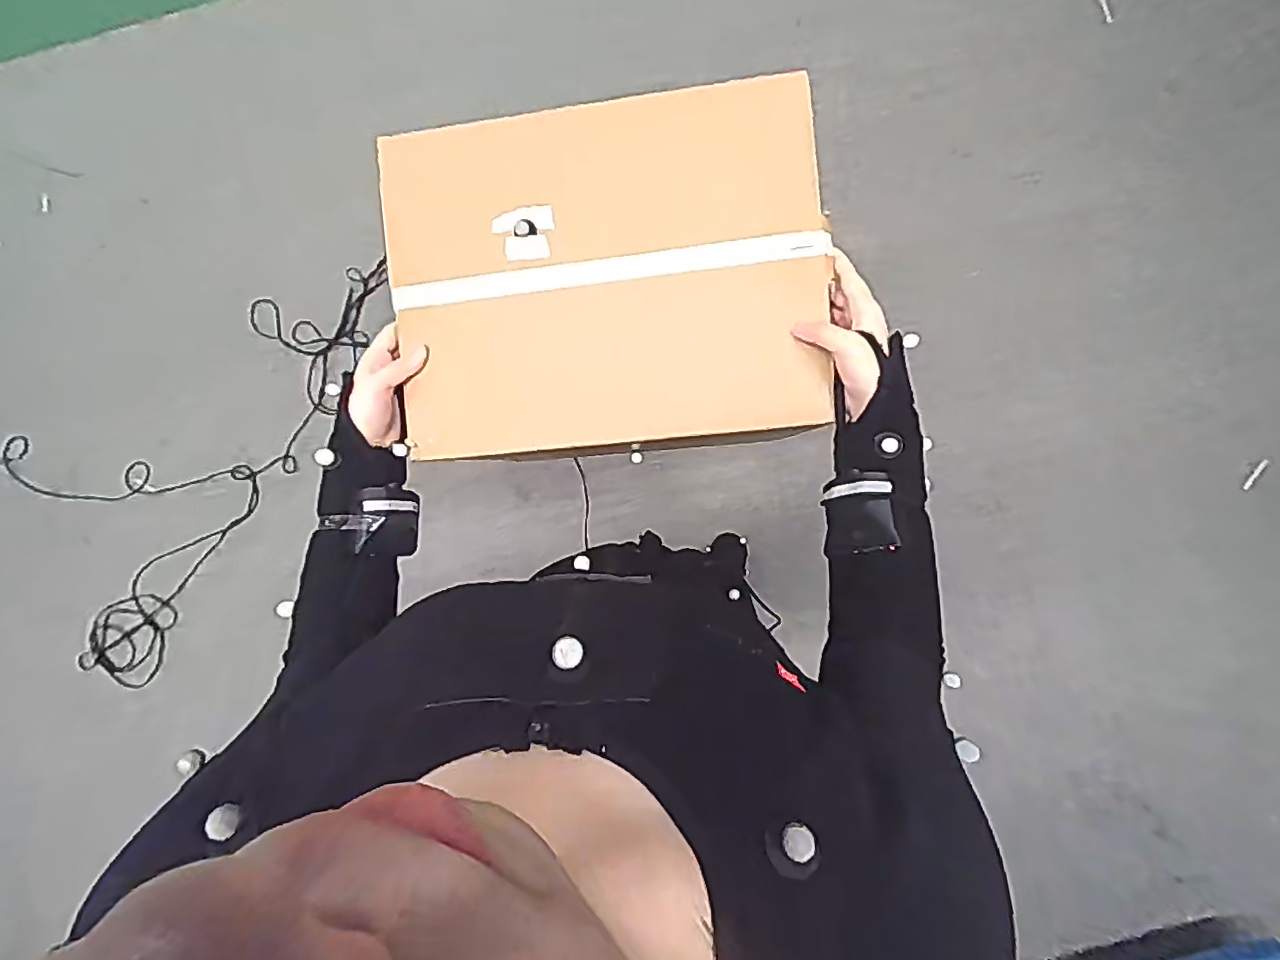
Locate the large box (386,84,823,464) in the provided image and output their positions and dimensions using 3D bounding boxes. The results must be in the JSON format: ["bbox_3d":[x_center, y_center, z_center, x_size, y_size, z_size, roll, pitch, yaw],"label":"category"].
[{"bbox_3d":[-0.023,-0.195,0.664,0.408,0.320,0.320,-5,91,7],"label":"large box"}]
